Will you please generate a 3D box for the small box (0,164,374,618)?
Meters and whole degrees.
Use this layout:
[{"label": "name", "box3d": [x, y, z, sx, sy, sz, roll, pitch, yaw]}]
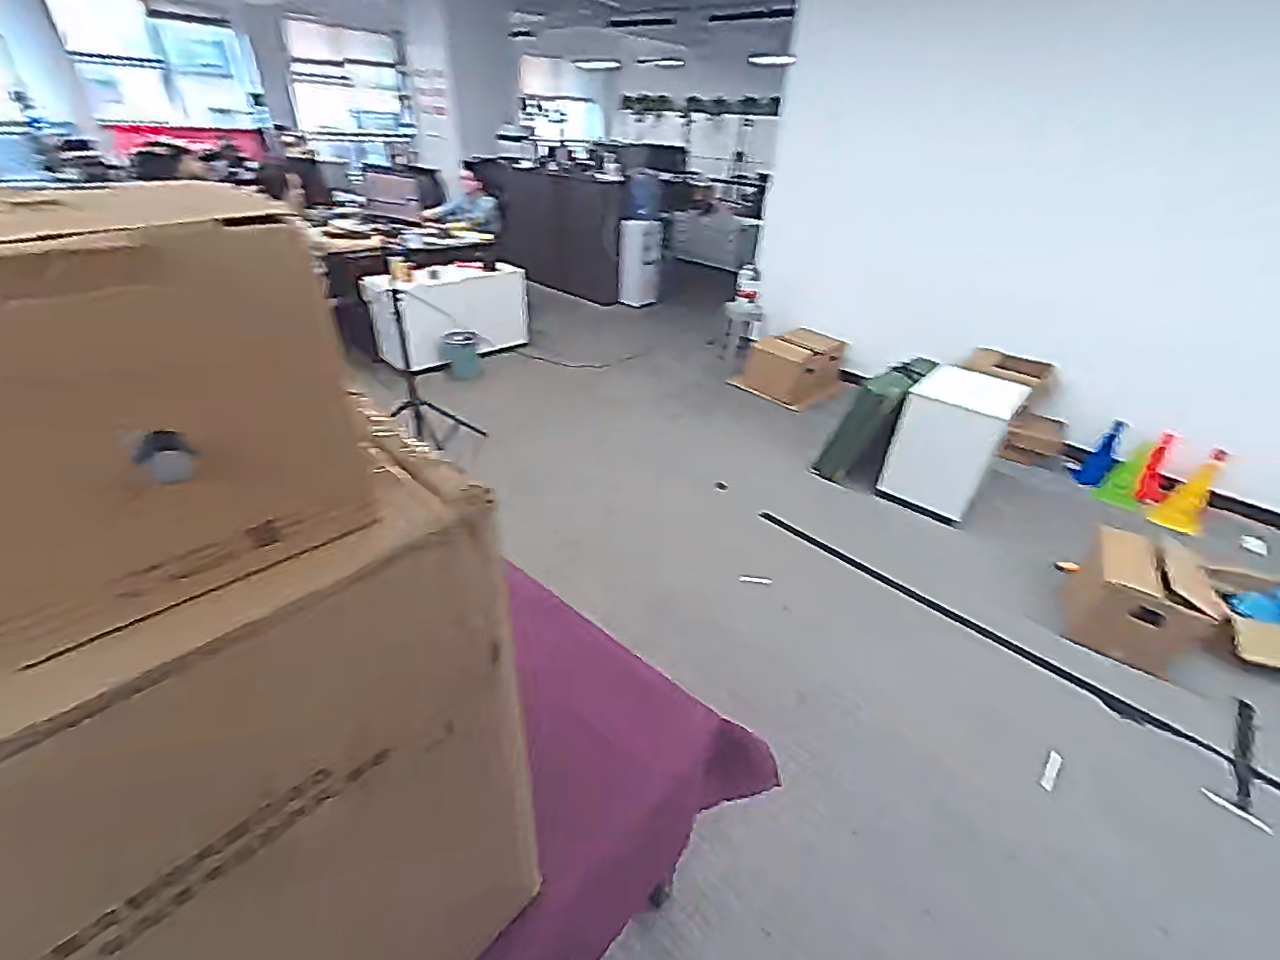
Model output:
[{"label": "small box", "box3d": [-0.267, -0.056, 0.281, 0.179, 0.176, 0.168, 30, 43, 34]}]
